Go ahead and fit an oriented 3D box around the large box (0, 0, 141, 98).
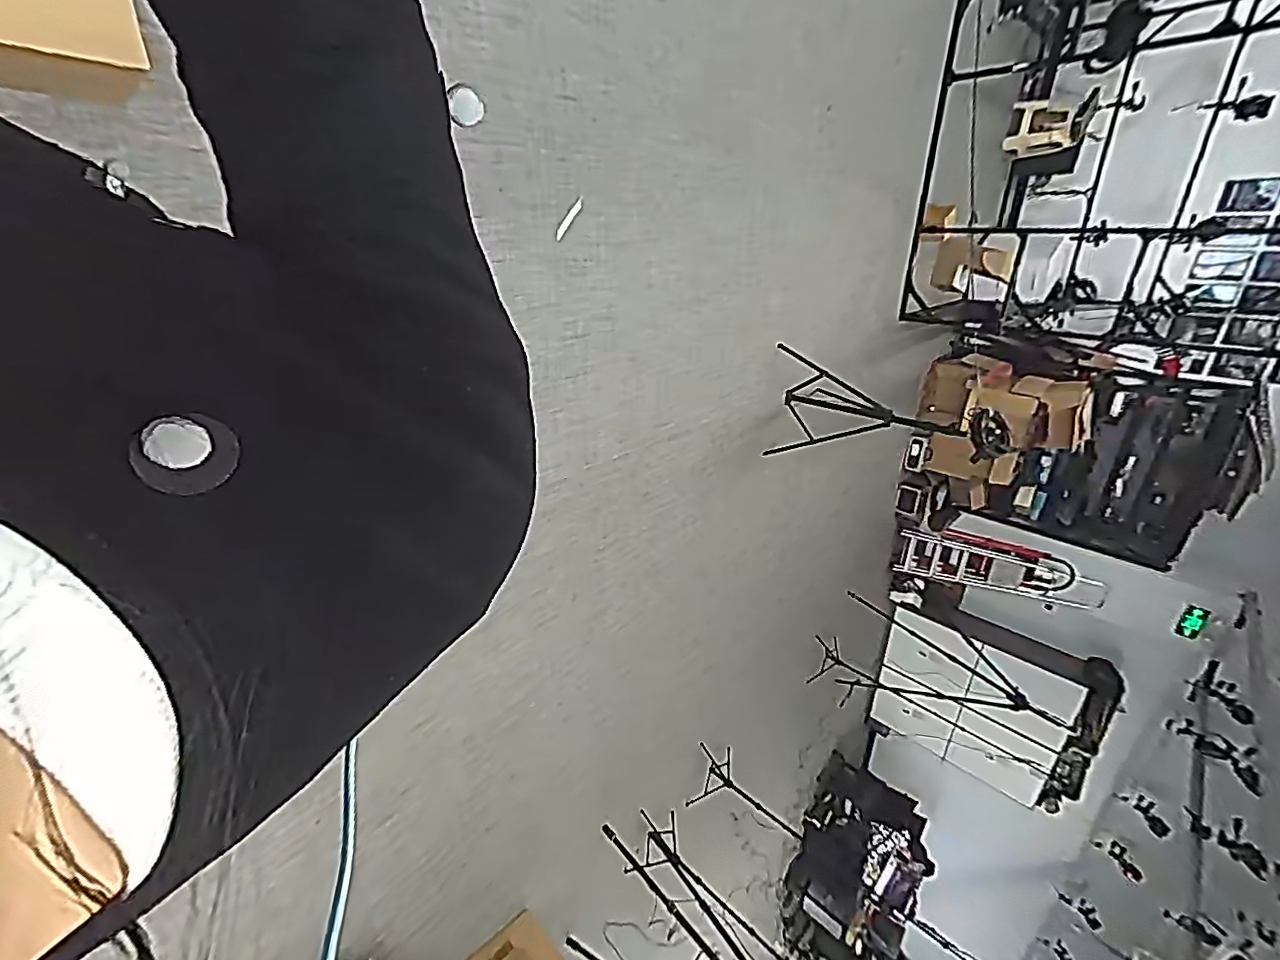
[{"bbox_3d":[-0.960,-0.720,0.677,0.408,0.320,0.320,-23,123,-43],"label":"large box"}]
